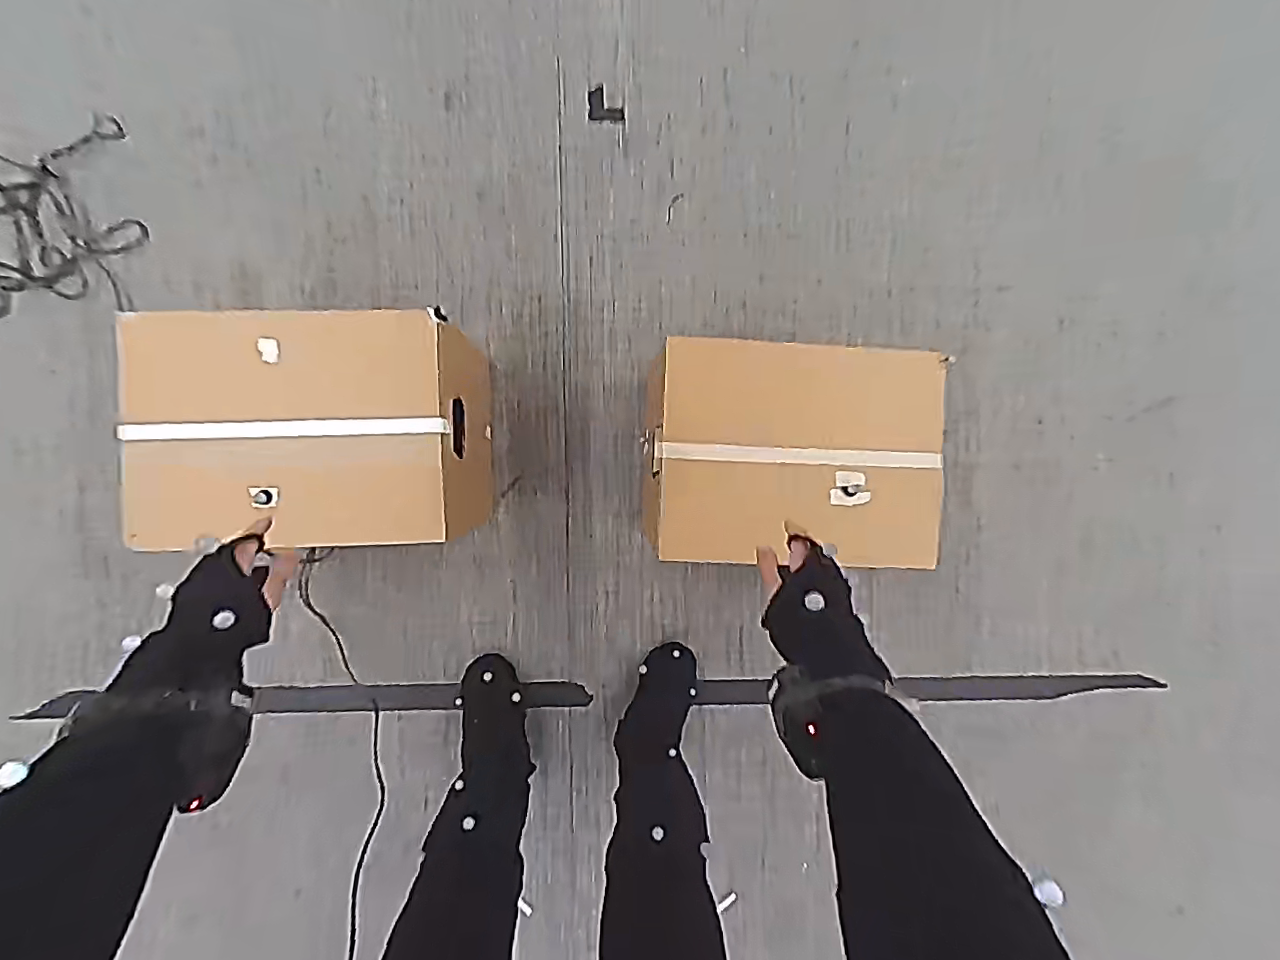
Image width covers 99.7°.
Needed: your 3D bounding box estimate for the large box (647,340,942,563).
[{"bbox_3d":[0.223,-0.039,0.919,0.408,0.320,0.320,2,91,-5],"label":"large box"}]
